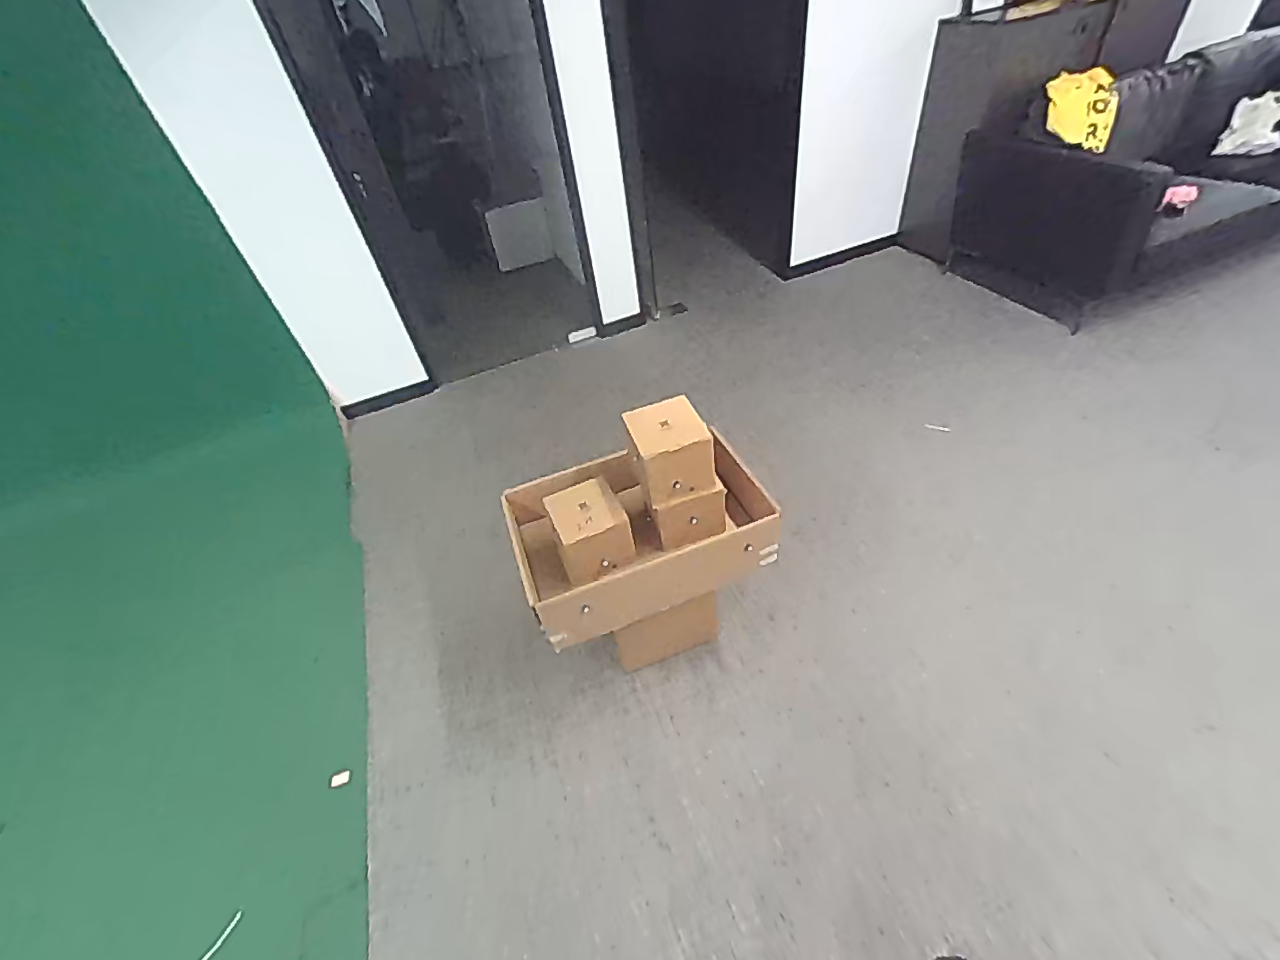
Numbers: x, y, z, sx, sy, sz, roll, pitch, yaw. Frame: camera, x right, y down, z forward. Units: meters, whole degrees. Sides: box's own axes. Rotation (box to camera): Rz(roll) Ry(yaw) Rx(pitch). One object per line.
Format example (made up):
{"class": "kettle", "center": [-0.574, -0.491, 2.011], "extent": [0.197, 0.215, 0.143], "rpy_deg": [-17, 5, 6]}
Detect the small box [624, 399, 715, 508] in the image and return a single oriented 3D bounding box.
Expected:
{"class": "small box", "center": [0.071, -0.062, 1.299], "extent": [0.168, 0.176, 0.179], "rpy_deg": [-18, 44, -8]}

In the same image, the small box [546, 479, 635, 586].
{"class": "small box", "center": [-0.123, 0.132, 1.363], "extent": [0.168, 0.176, 0.179], "rpy_deg": [-22, 45, -13]}
